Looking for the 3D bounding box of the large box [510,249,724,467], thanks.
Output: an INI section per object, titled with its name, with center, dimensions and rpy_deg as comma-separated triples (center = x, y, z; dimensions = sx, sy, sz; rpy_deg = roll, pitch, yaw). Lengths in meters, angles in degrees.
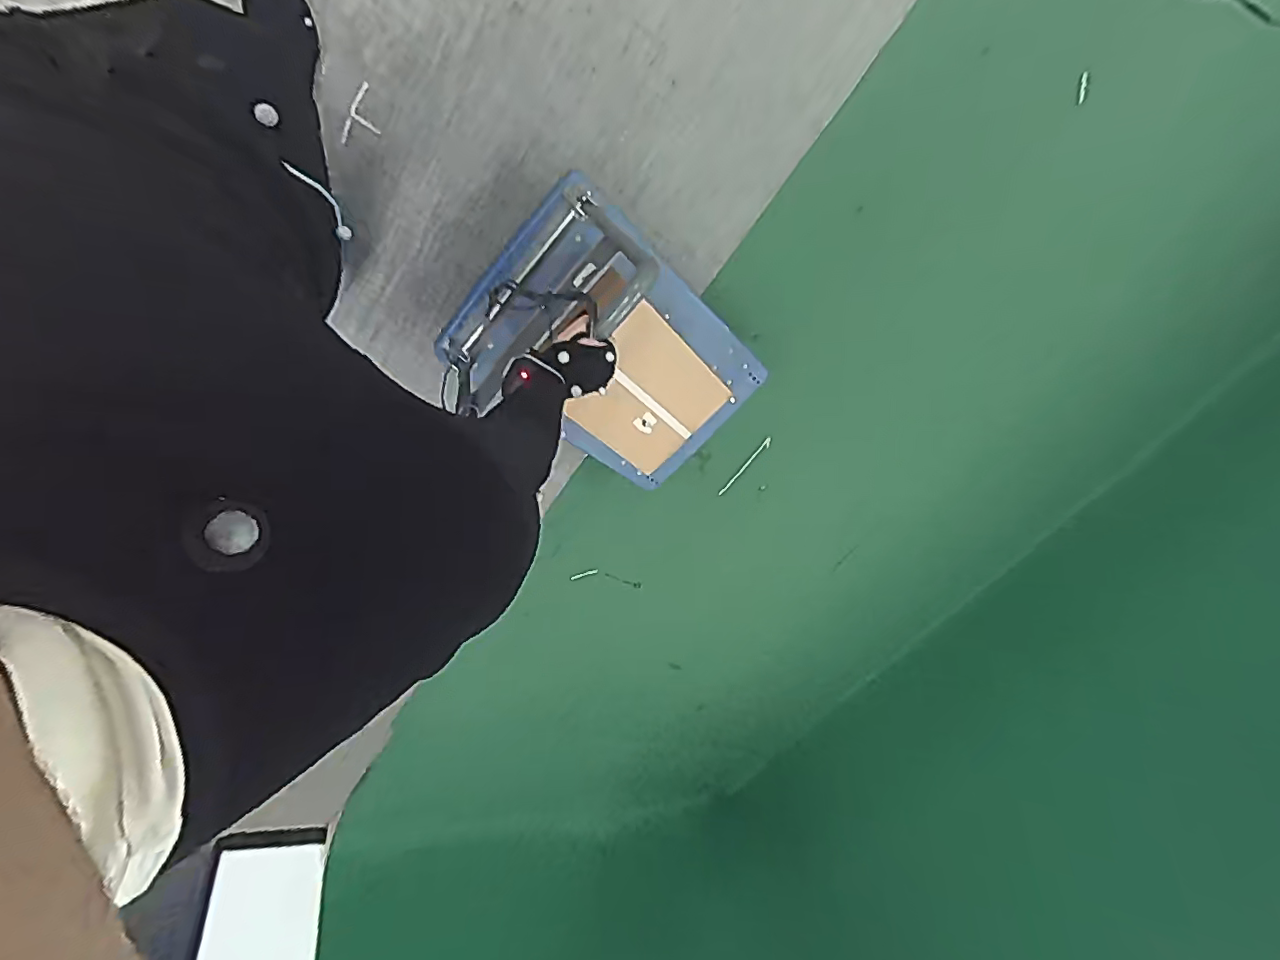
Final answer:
[large box]
center = -0.066, -0.308, 1.393
dimensions = 0.320, 0.320, 0.408
rpy_deg = -43, 131, 13
